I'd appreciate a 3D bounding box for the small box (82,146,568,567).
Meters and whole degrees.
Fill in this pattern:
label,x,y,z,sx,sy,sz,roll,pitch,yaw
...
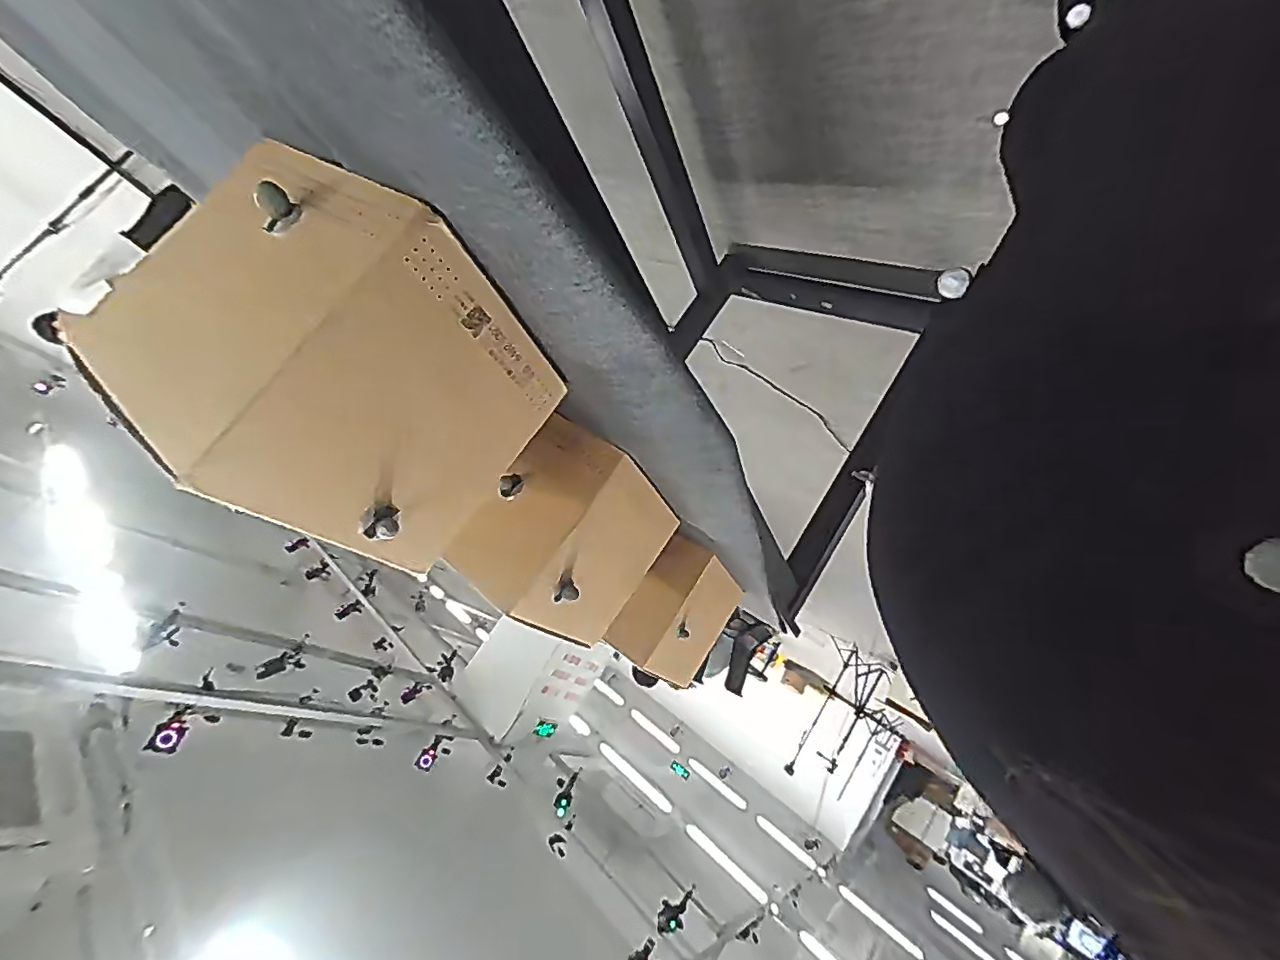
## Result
label,x,y,z,sx,sy,sz,roll,pitch,yaw
small box,-0.180,-0.076,0.349,0.179,0.176,0.168,32,169,27

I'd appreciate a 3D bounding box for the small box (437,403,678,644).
label,x,y,z,sx,sy,sz,roll,pitch,yaw
small box,-0.087,0.038,0.553,0.168,0.176,0.179,31,169,30
